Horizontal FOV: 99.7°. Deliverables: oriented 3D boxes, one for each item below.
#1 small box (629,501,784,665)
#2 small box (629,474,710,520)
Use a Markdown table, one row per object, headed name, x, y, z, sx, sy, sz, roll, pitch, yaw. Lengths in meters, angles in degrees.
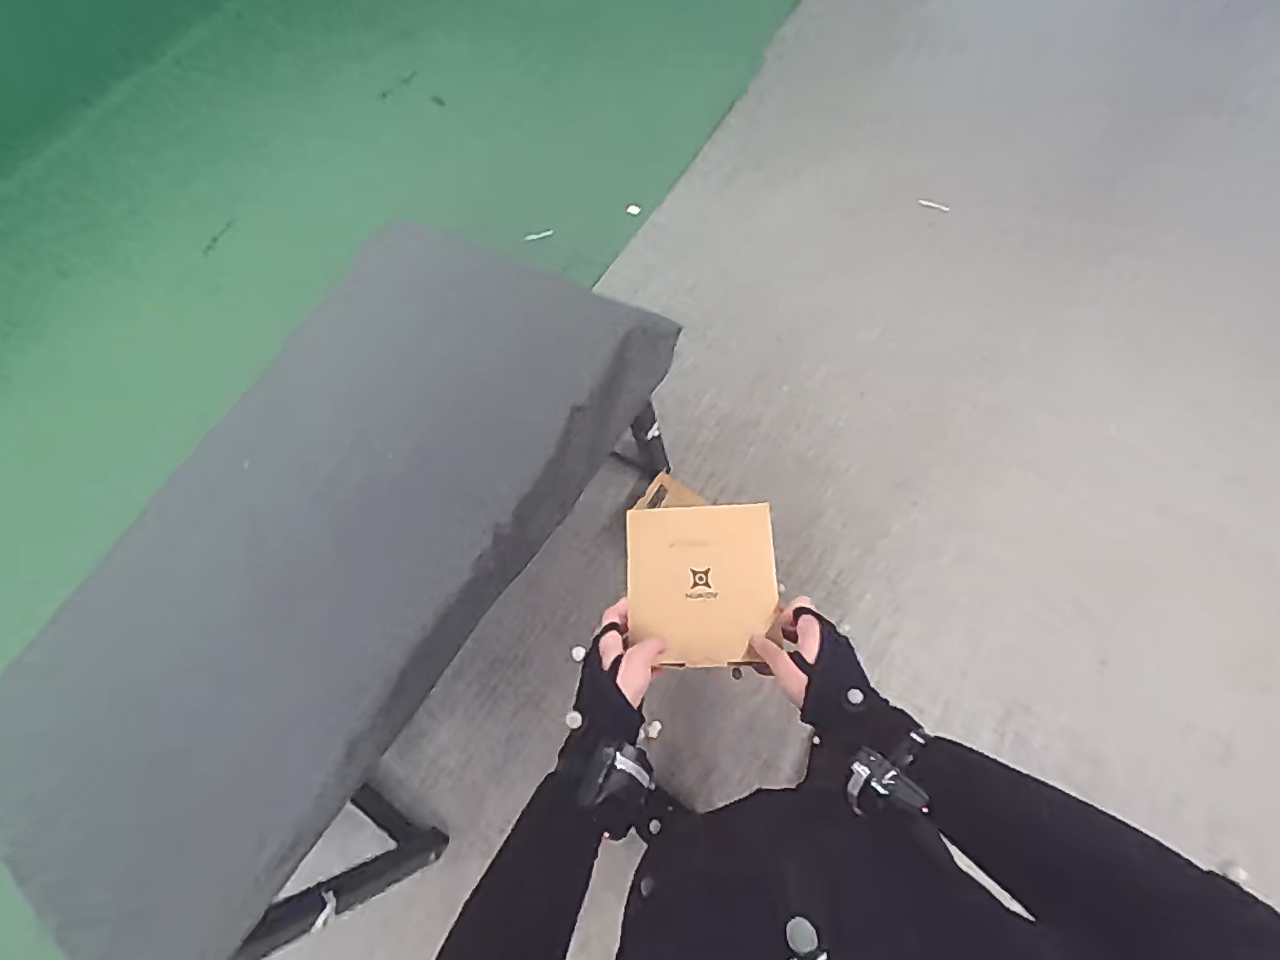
| name | x | y | z | sx | sy | sz | roll | pitch | yaw |
| --- | --- | --- | --- | --- | --- | --- | --- | --- | --- |
| small box | 0.079 | 0.135 | 0.668 | 0.168 | 0.176 | 0.179 | -3 | 70 | 5 |
| small box | 0.098 | 0.119 | 1.480 | 0.179 | 0.176 | 0.168 | 34 | 78 | 20 |
